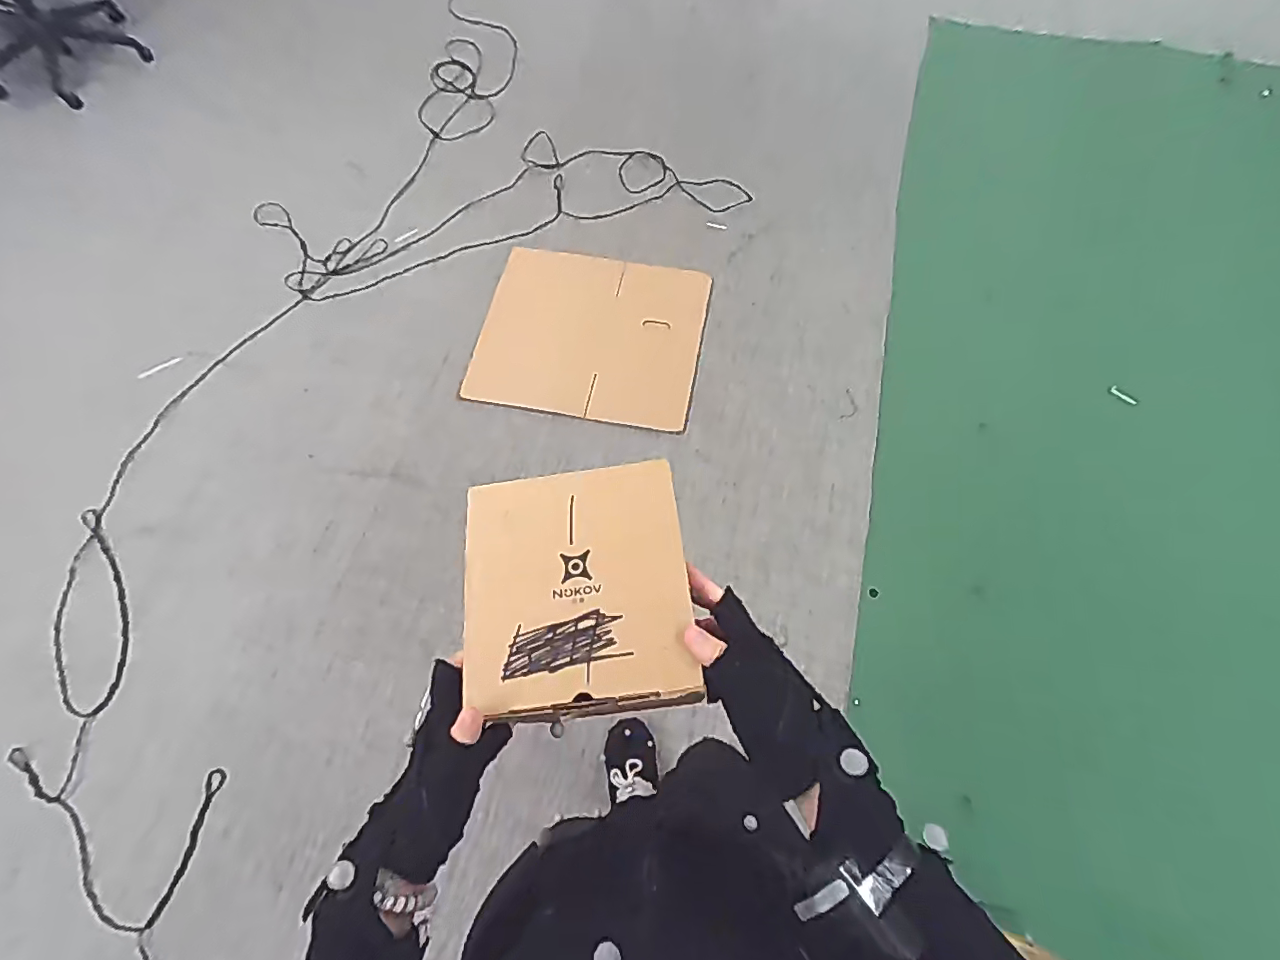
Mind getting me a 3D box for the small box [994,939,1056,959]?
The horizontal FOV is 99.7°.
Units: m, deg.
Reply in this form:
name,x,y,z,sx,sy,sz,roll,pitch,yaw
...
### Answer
name,x,y,z,sx,sy,sz,roll,pitch,yaw
small box,0.696,0.899,0.874,0.168,0.176,0.179,17,70,9
